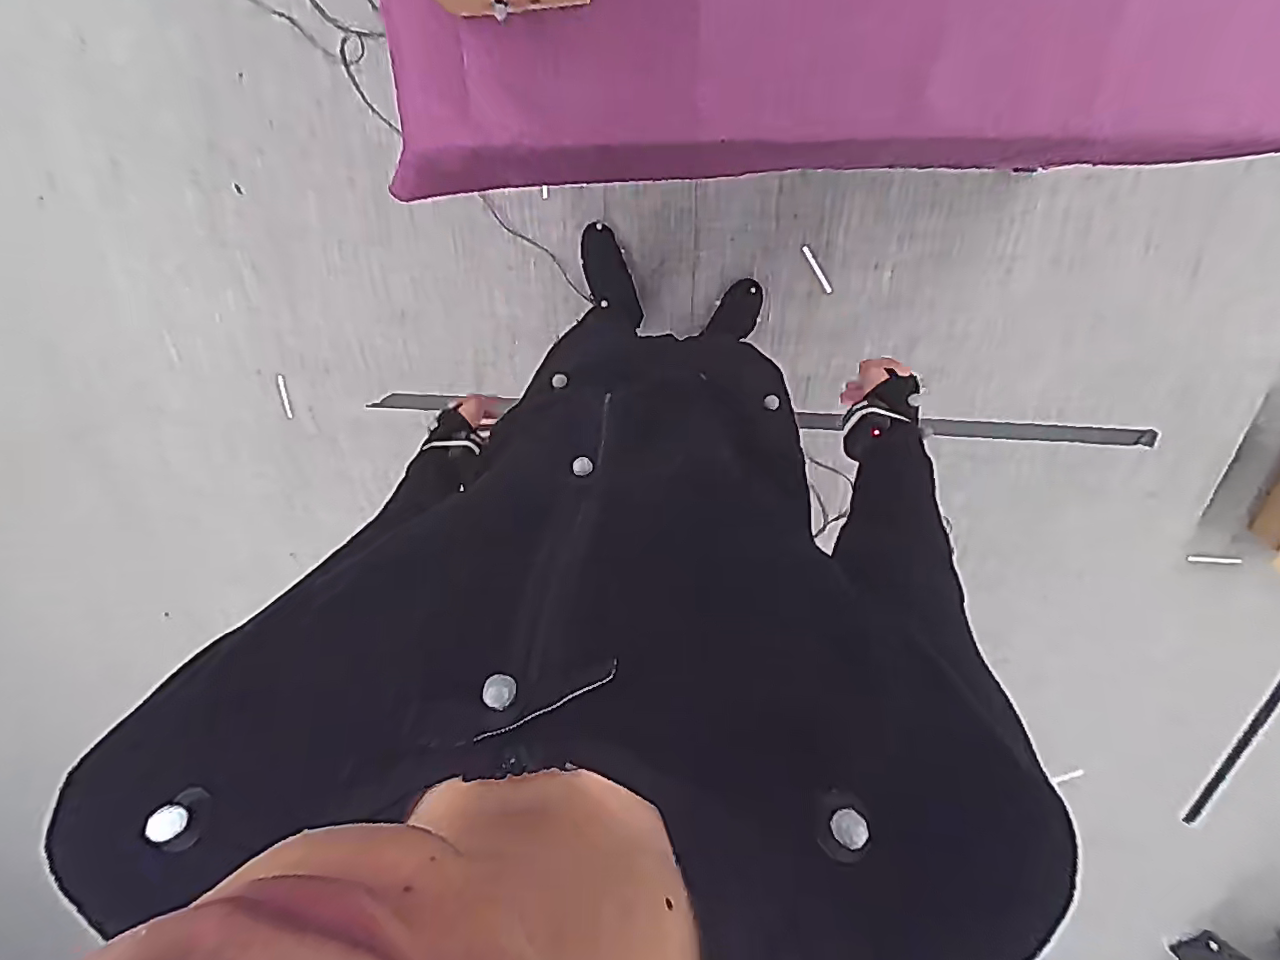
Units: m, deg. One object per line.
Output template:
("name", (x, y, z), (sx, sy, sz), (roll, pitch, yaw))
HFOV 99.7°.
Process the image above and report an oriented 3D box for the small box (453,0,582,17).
("small box", (-0.154, -0.614, 0.547), (0.168, 0.176, 0.179), (-1, 115, 6))
